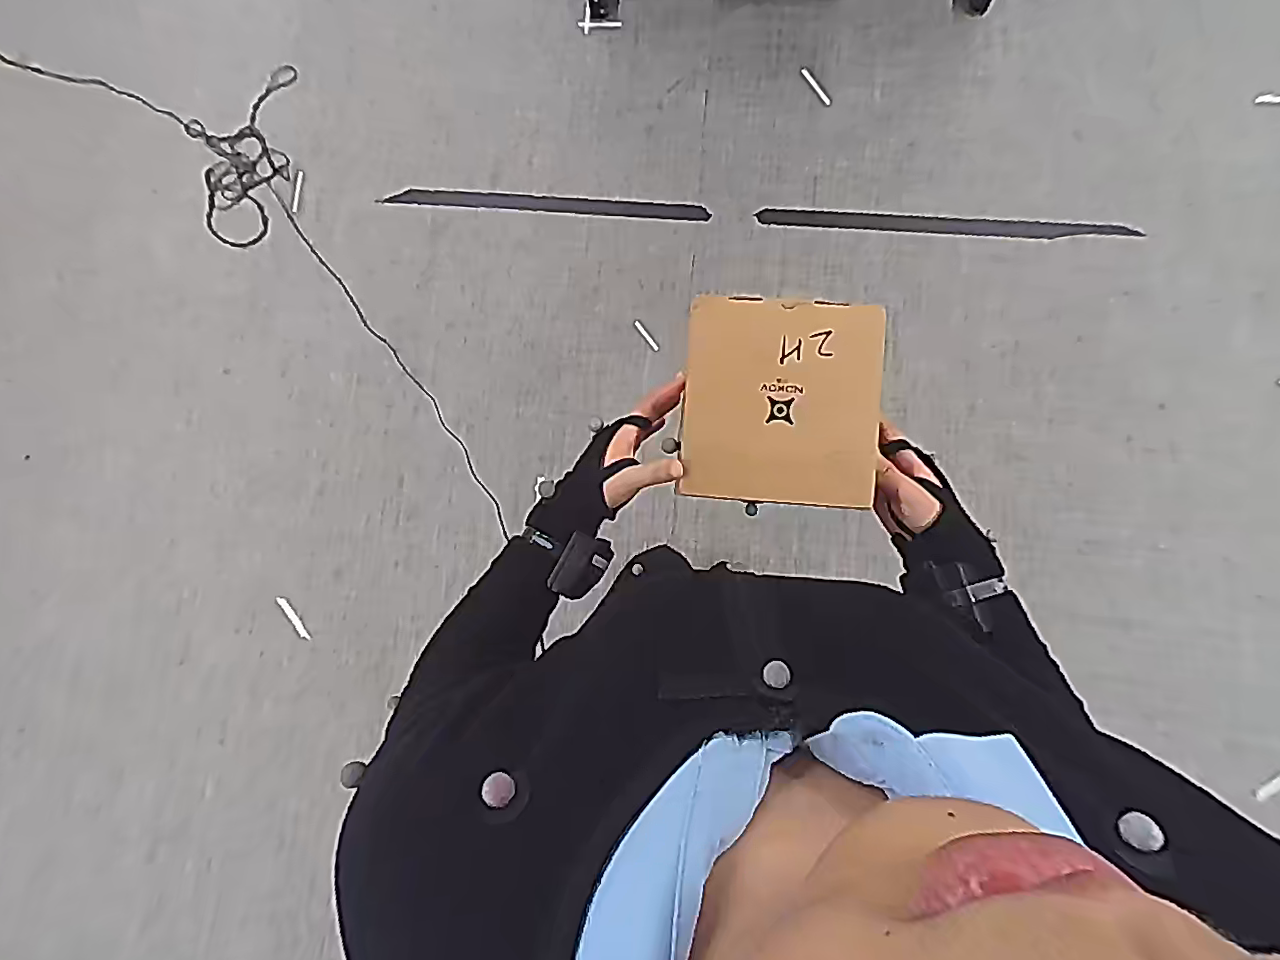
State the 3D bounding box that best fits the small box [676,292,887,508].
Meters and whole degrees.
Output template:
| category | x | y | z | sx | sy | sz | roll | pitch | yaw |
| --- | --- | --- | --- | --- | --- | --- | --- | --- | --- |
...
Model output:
| category | x | y | z | sx | sy | sz | roll | pitch | yaw |
| --- | --- | --- | --- | --- | --- | --- | --- | --- | --- |
| small box | 0.124 | -0.067 | 0.538 | 0.168 | 0.176 | 0.179 | 4 | 87 | 2 |
